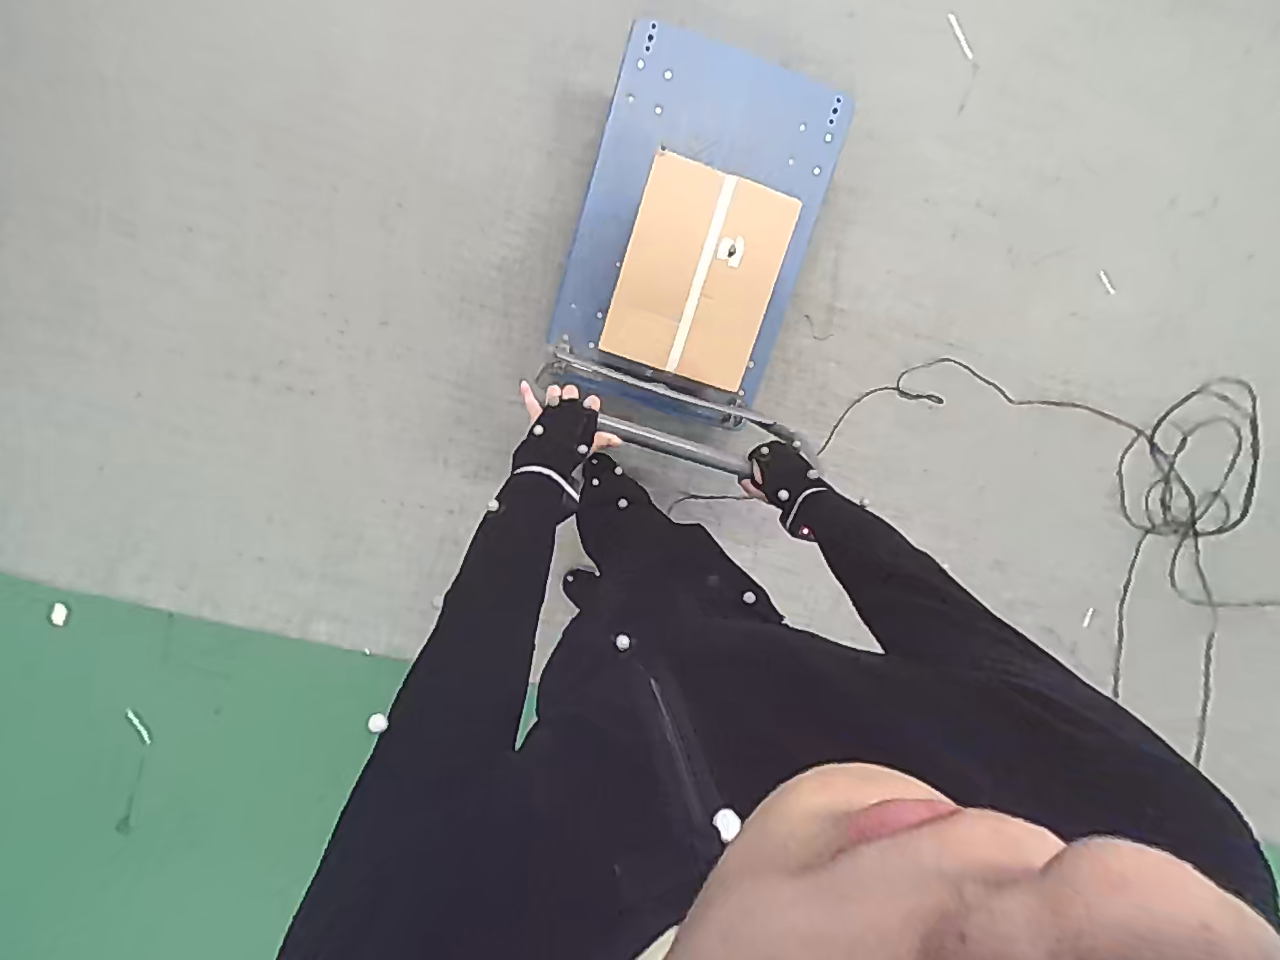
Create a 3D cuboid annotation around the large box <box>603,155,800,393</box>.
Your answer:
[{"bbox_3d":[0.116,-0.435,1.249,0.320,0.320,0.408,17,99,-7],"label":"large box"}]
